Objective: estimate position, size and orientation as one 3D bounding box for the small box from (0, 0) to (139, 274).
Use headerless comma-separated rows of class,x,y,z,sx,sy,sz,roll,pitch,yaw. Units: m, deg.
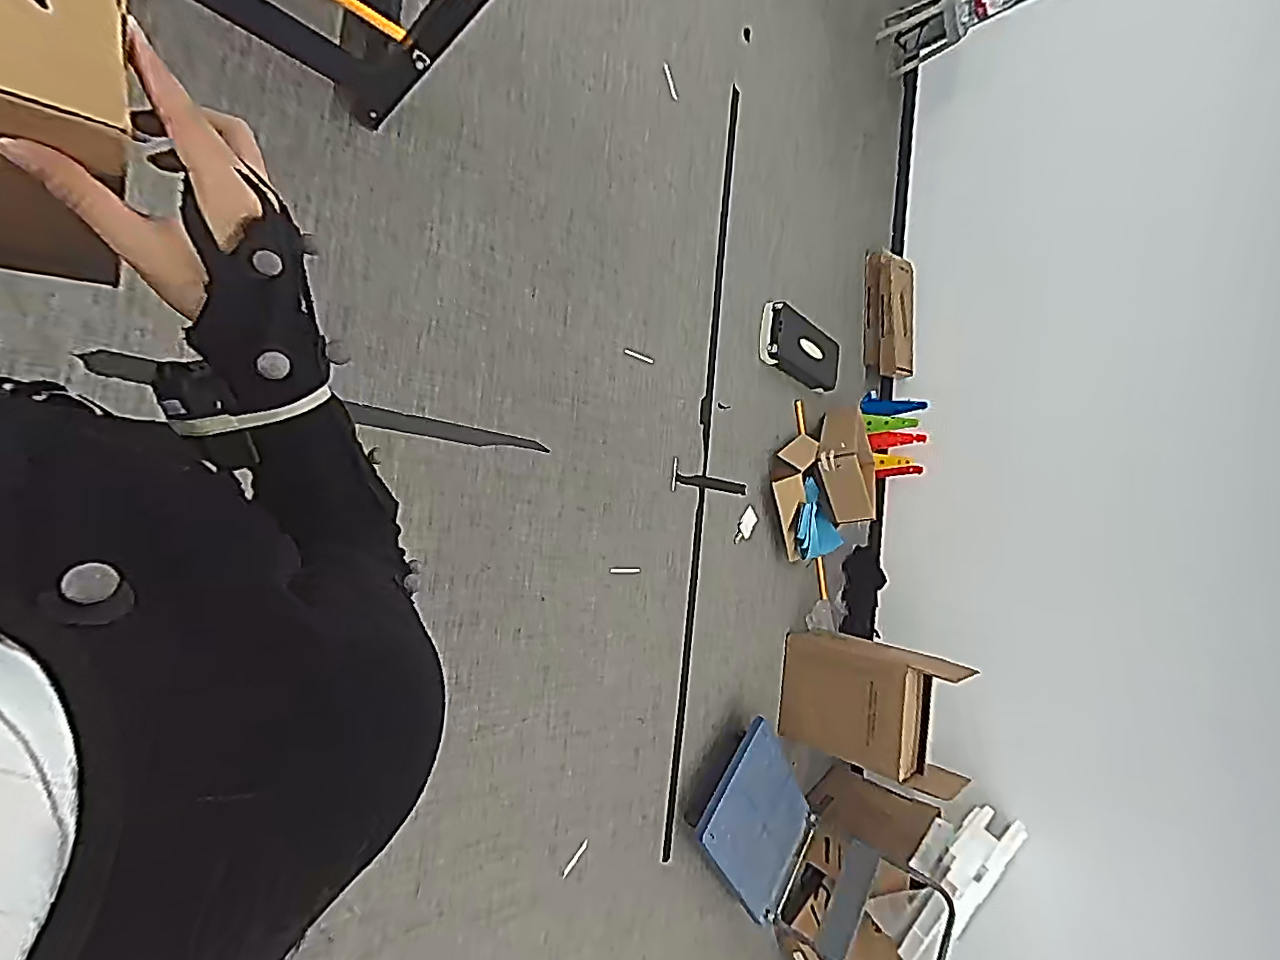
small box,-0.352,-0.218,0.246,0.179,0.176,0.168,-2,83,-46
